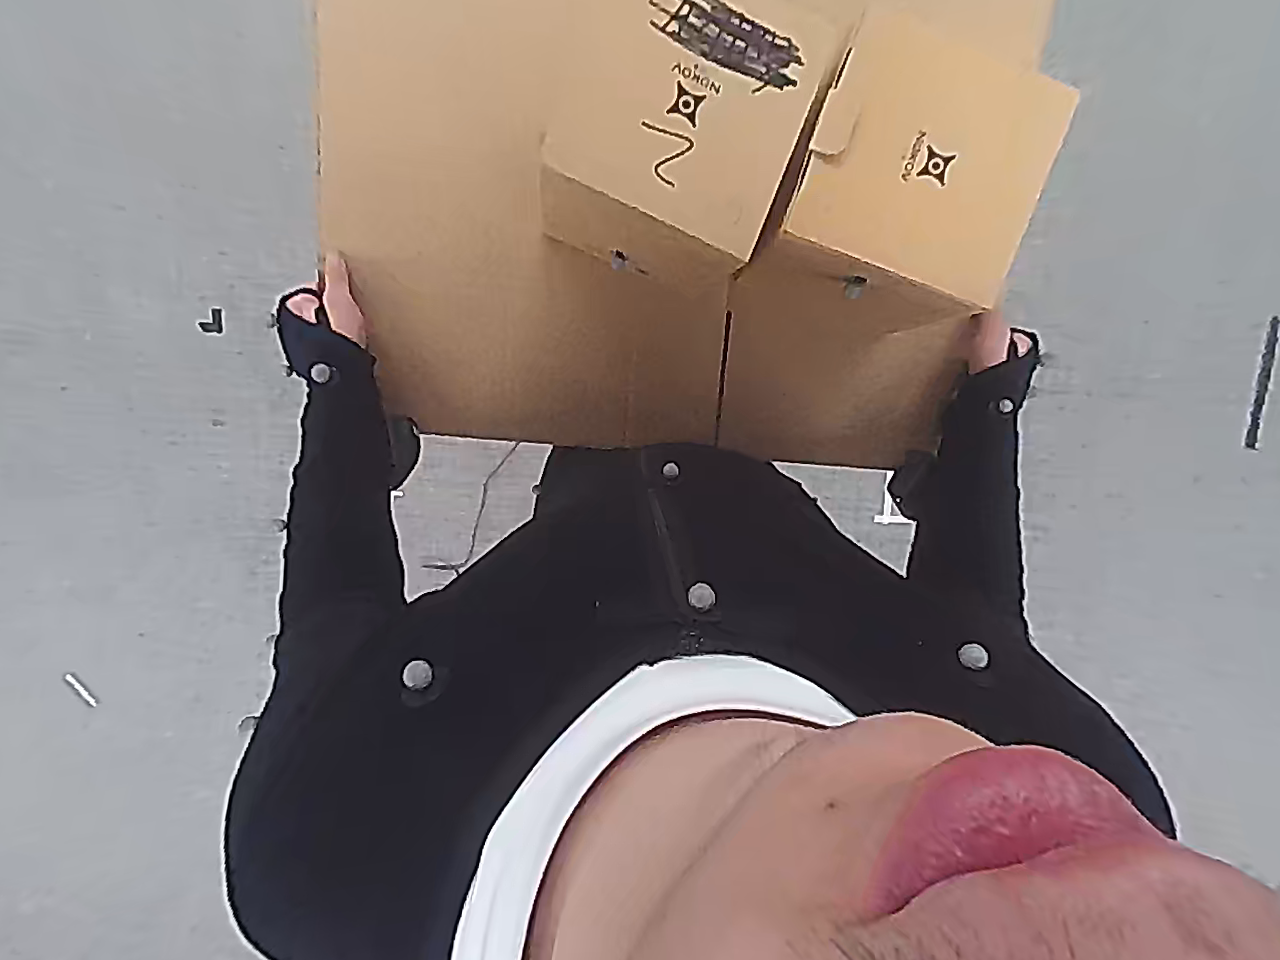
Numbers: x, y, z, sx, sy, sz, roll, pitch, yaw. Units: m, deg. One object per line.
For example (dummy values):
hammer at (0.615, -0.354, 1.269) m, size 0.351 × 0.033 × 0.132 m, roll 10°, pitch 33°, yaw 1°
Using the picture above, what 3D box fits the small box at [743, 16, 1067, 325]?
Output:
small box at (0.214, -0.250, 0.491) m, size 0.179 × 0.176 × 0.168 m, roll 19°, pitch 97°, yaw -3°
